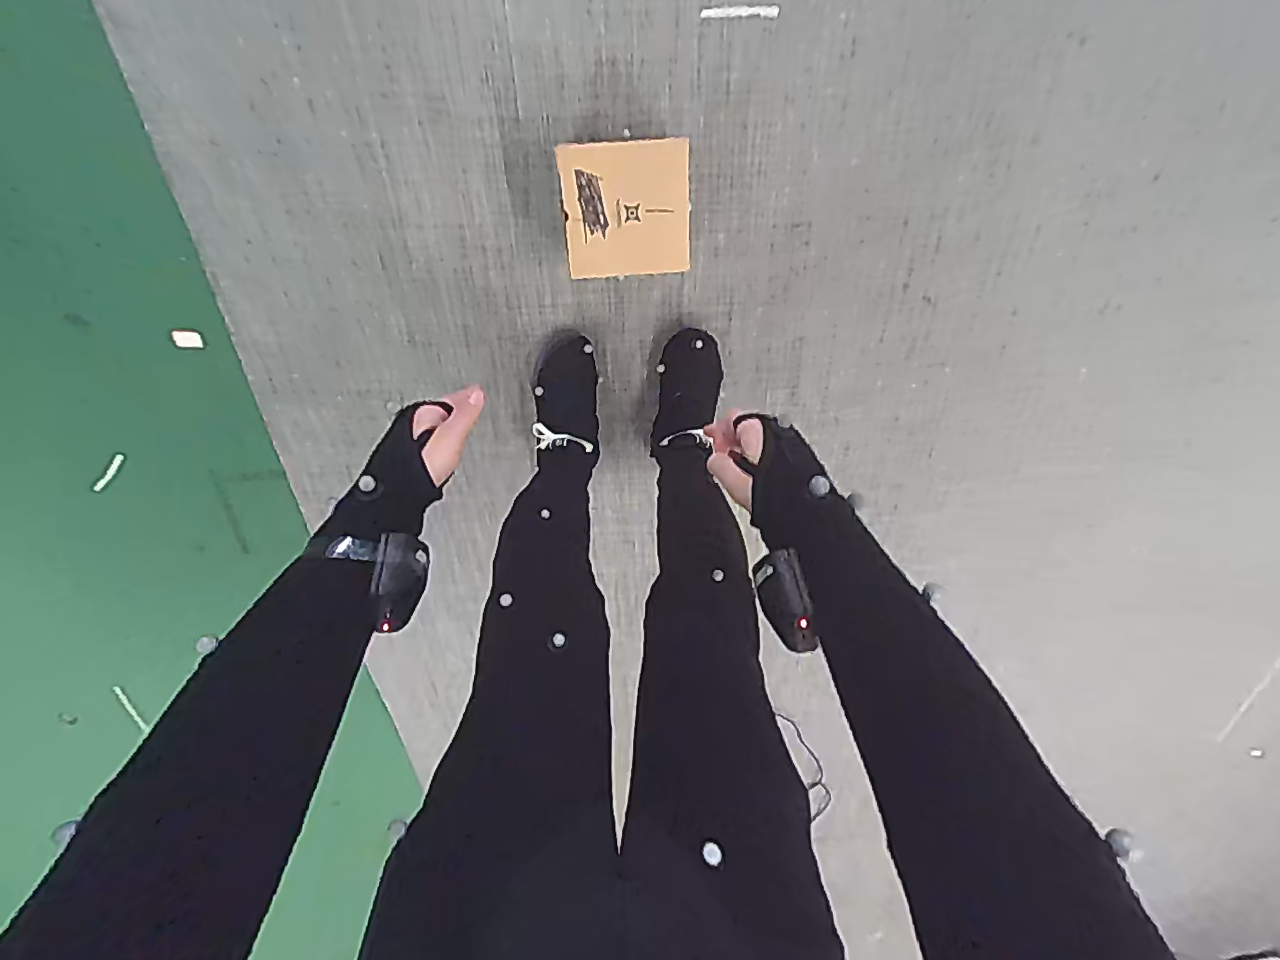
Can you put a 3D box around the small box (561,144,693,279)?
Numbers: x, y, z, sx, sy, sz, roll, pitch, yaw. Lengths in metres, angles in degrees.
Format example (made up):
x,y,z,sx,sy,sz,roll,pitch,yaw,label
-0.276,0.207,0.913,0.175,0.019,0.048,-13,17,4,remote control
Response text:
x,y,z,sx,sy,sz,roll,pitch,yaw,label
-0.018,-0.404,0.815,0.179,0.176,0.168,-4,120,-2,small box
